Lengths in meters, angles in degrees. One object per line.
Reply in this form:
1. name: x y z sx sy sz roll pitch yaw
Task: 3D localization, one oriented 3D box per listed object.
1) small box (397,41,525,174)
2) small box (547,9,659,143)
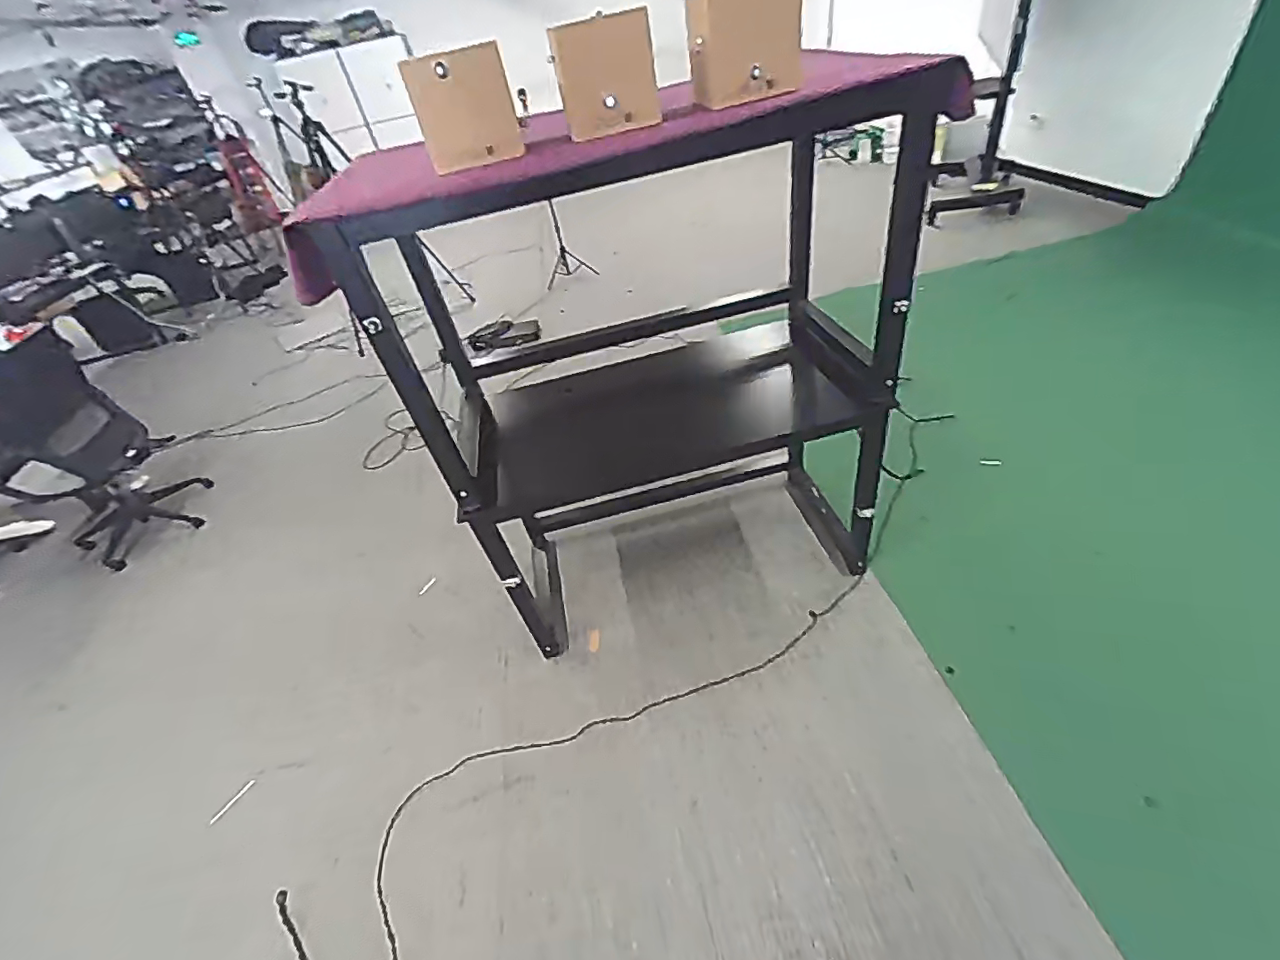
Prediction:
1. small box: -0.313 -0.674 0.985 0.168 0.176 0.179 -15 39 -2
2. small box: -0.068 -0.737 0.995 0.168 0.176 0.179 -14 40 -1
